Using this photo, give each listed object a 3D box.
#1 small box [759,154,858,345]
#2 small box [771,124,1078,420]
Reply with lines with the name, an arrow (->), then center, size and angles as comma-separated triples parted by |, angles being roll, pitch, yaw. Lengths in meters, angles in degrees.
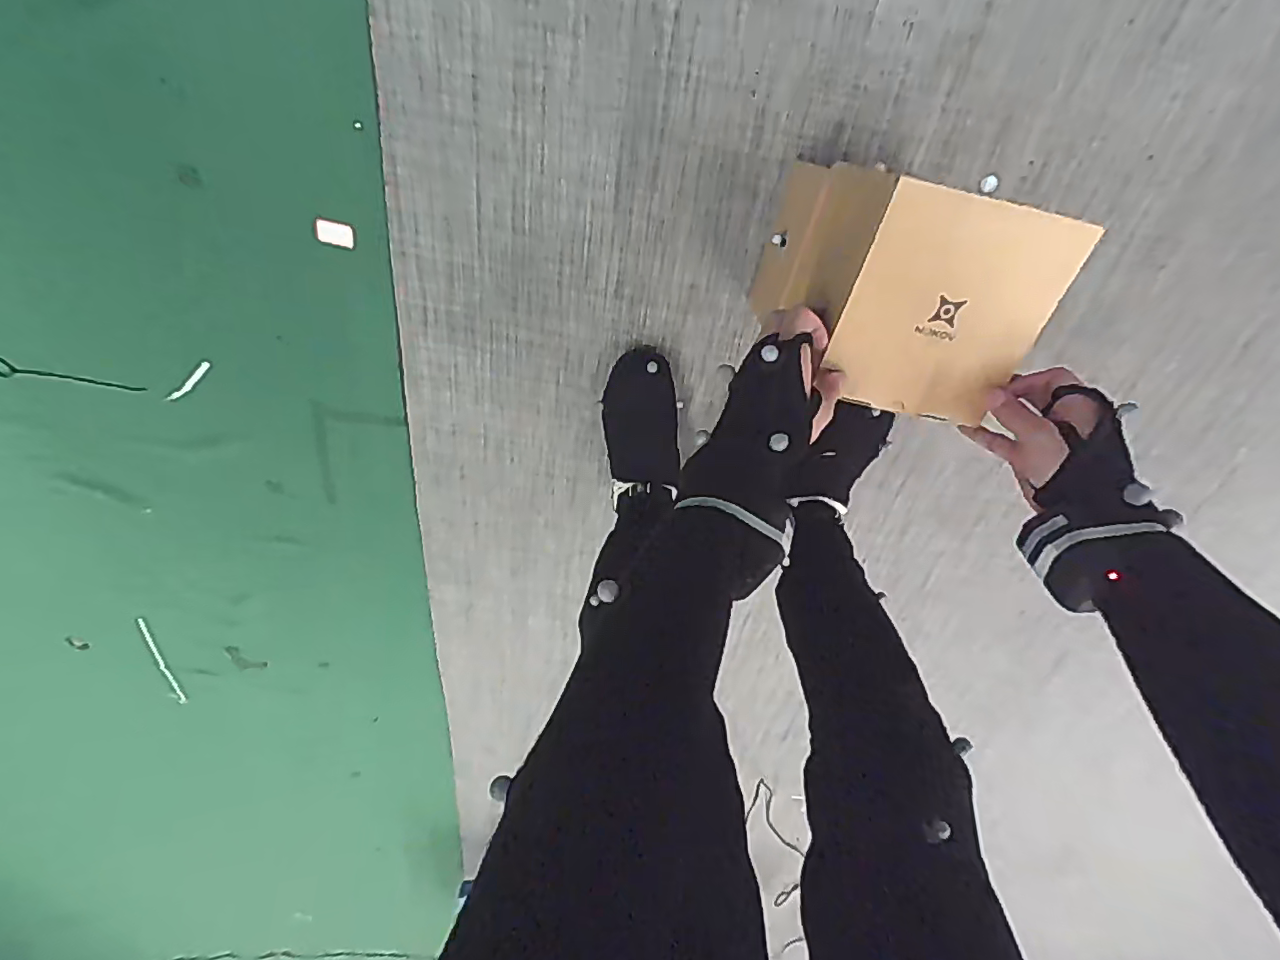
small box -> 0.249, -0.269, 0.645 | 0.168, 0.176, 0.179 | 11, 123, -5
small box -> 0.244, -0.196, 0.508 | 0.179, 0.176, 0.168 | 39, 120, -21
